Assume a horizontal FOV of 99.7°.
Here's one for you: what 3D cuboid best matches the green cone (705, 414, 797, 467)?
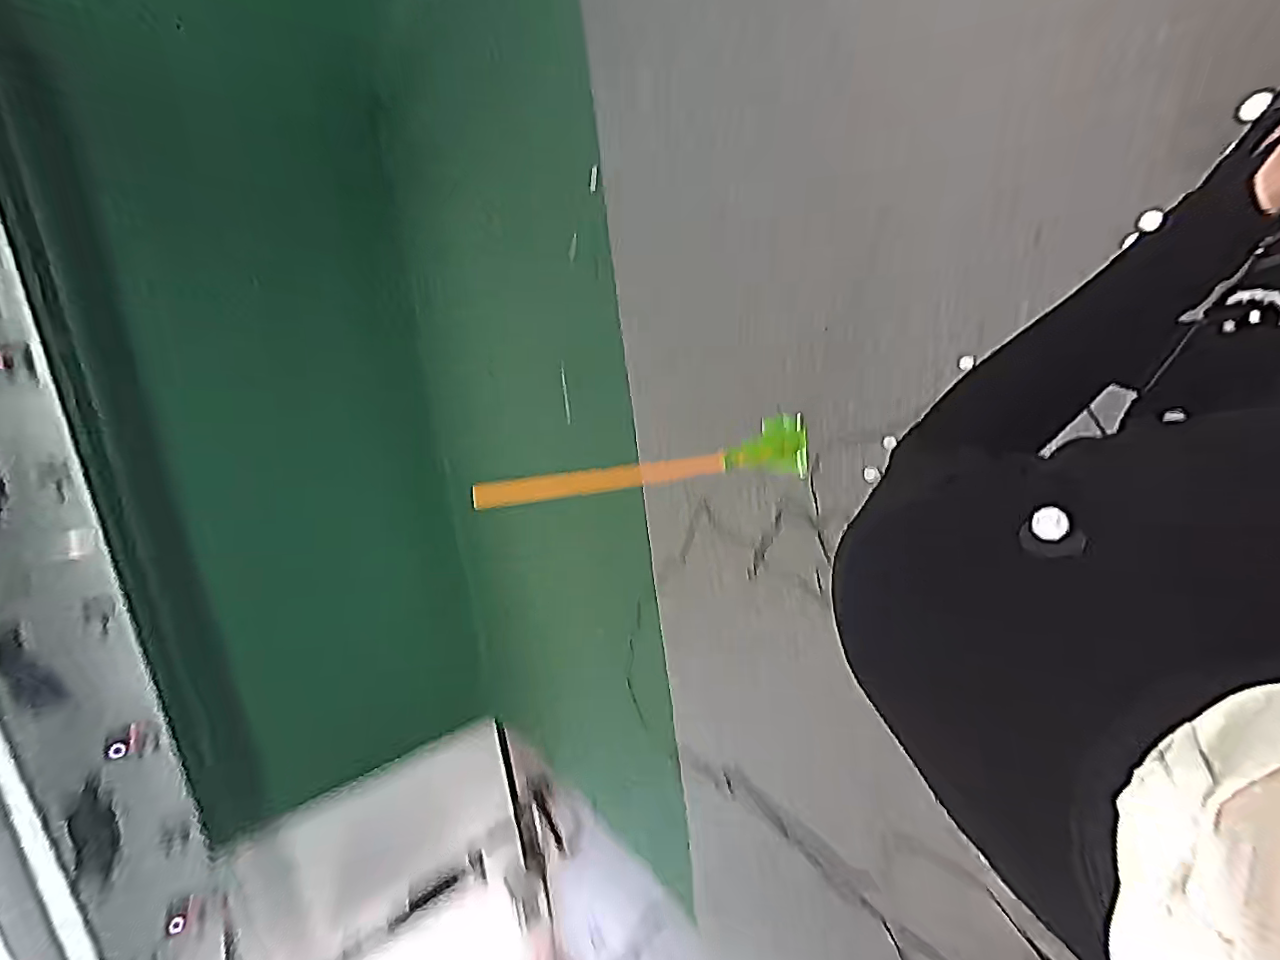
[{"bbox_3d":[0.371,-0.110,1.943,0.200,0.368,0.202,10,111,52],"label":"green cone"}]
